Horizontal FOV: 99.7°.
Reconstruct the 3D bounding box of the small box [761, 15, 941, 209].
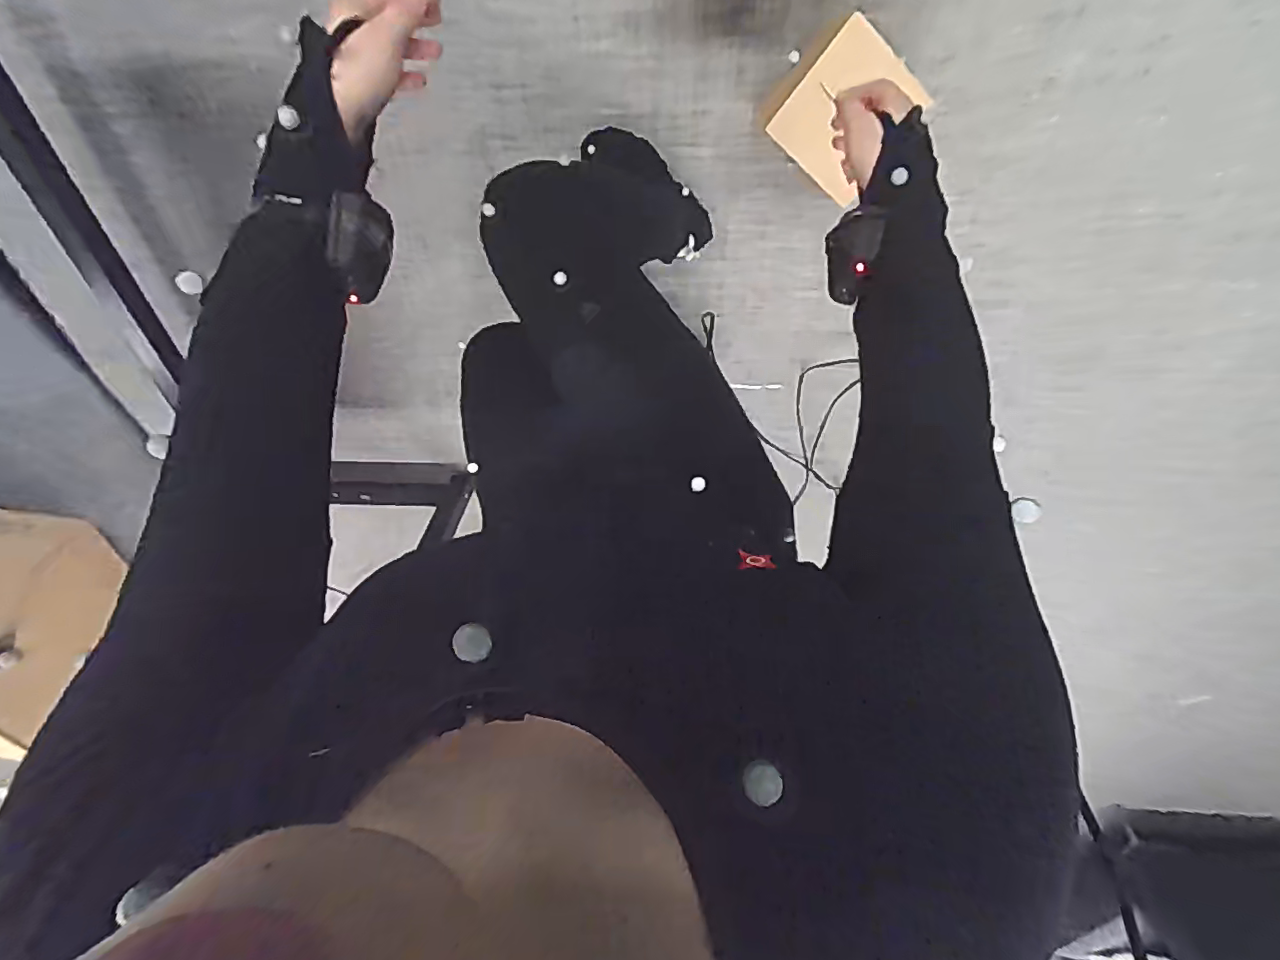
[{"bbox_3d":[0.305,-0.554,0.814,0.179,0.176,0.168,32,126,-20],"label":"small box"}]
